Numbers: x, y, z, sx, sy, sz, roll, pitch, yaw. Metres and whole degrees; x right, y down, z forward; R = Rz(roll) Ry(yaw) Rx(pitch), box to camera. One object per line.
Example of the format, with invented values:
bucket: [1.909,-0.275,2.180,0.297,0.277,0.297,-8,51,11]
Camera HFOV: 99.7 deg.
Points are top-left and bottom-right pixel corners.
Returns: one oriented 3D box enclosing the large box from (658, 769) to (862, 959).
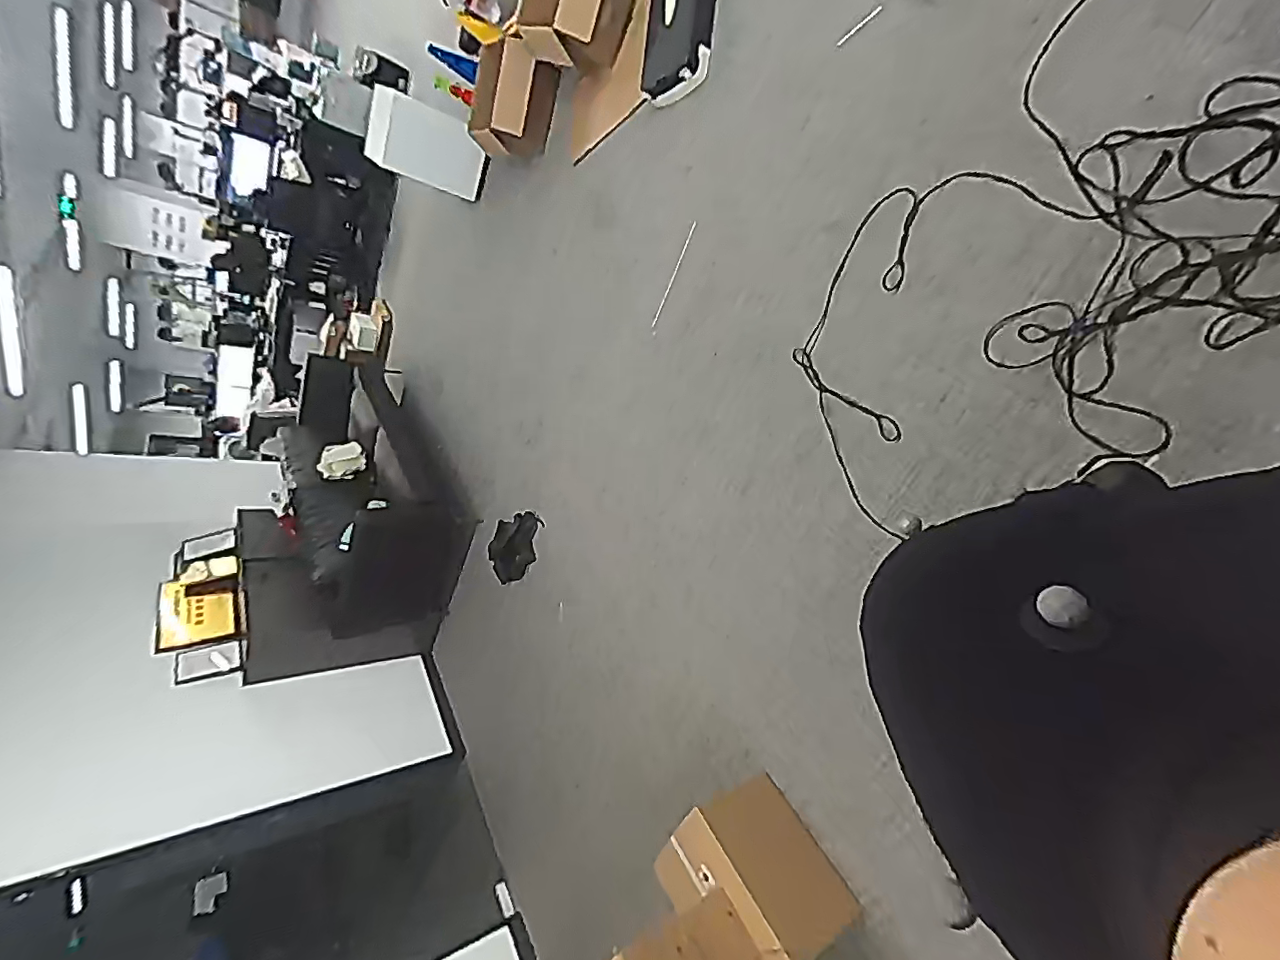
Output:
large box: [0.324,1.123,1.523,0.408,0.320,0.320,49,123,41]

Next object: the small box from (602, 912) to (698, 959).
small box: [0.025,1.150,1.243,0.168,0.176,0.179,54,127,37]
